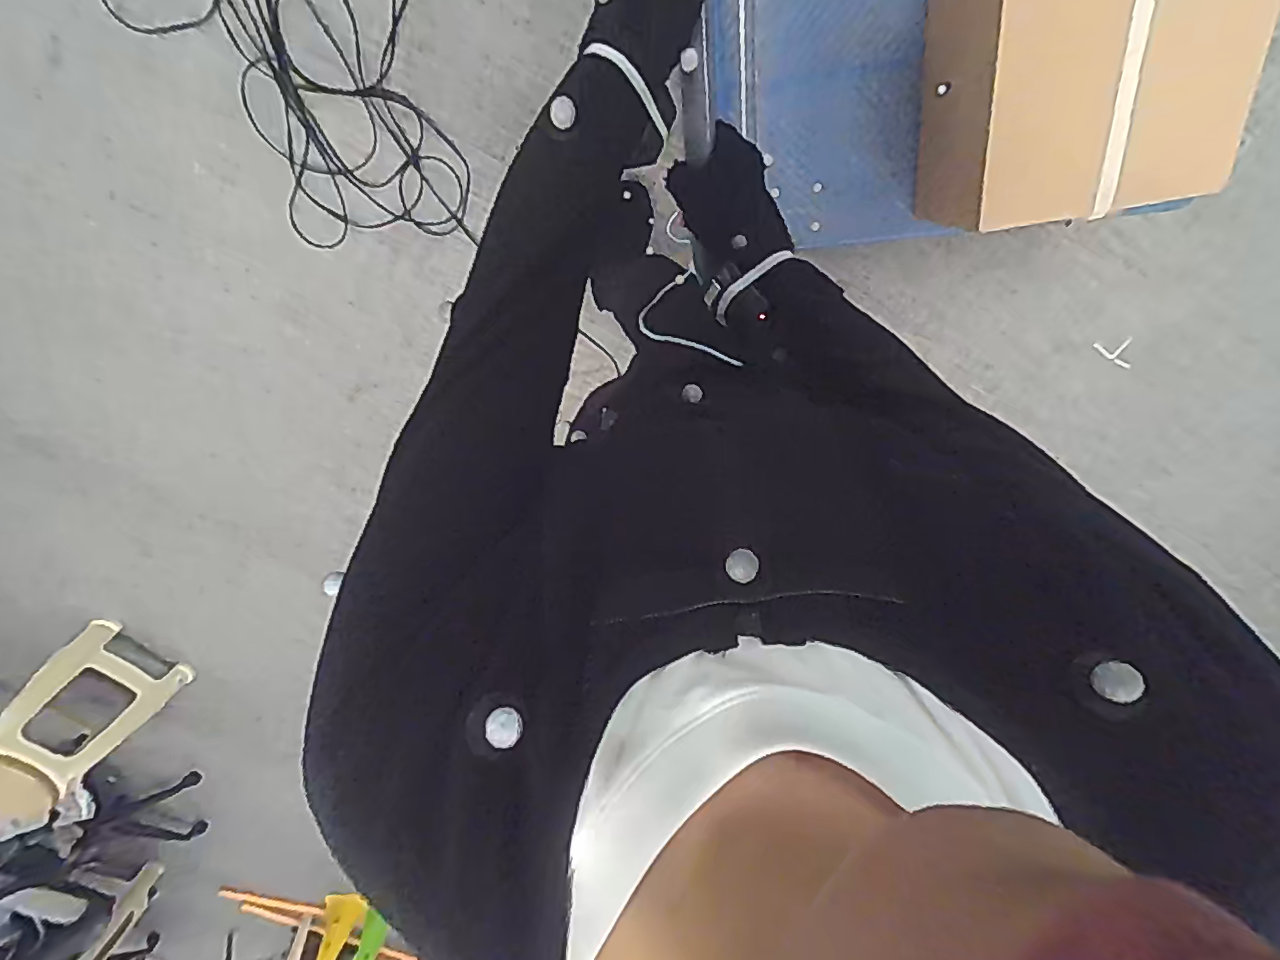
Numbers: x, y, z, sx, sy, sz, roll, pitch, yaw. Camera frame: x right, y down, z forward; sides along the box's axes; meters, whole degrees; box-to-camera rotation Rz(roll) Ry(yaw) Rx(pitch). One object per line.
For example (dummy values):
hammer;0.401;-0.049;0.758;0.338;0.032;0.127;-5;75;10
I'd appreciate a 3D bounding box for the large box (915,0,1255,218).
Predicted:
large box;0.628;-0.653;0.820;0.320;0.320;0.408;-6;118;11
